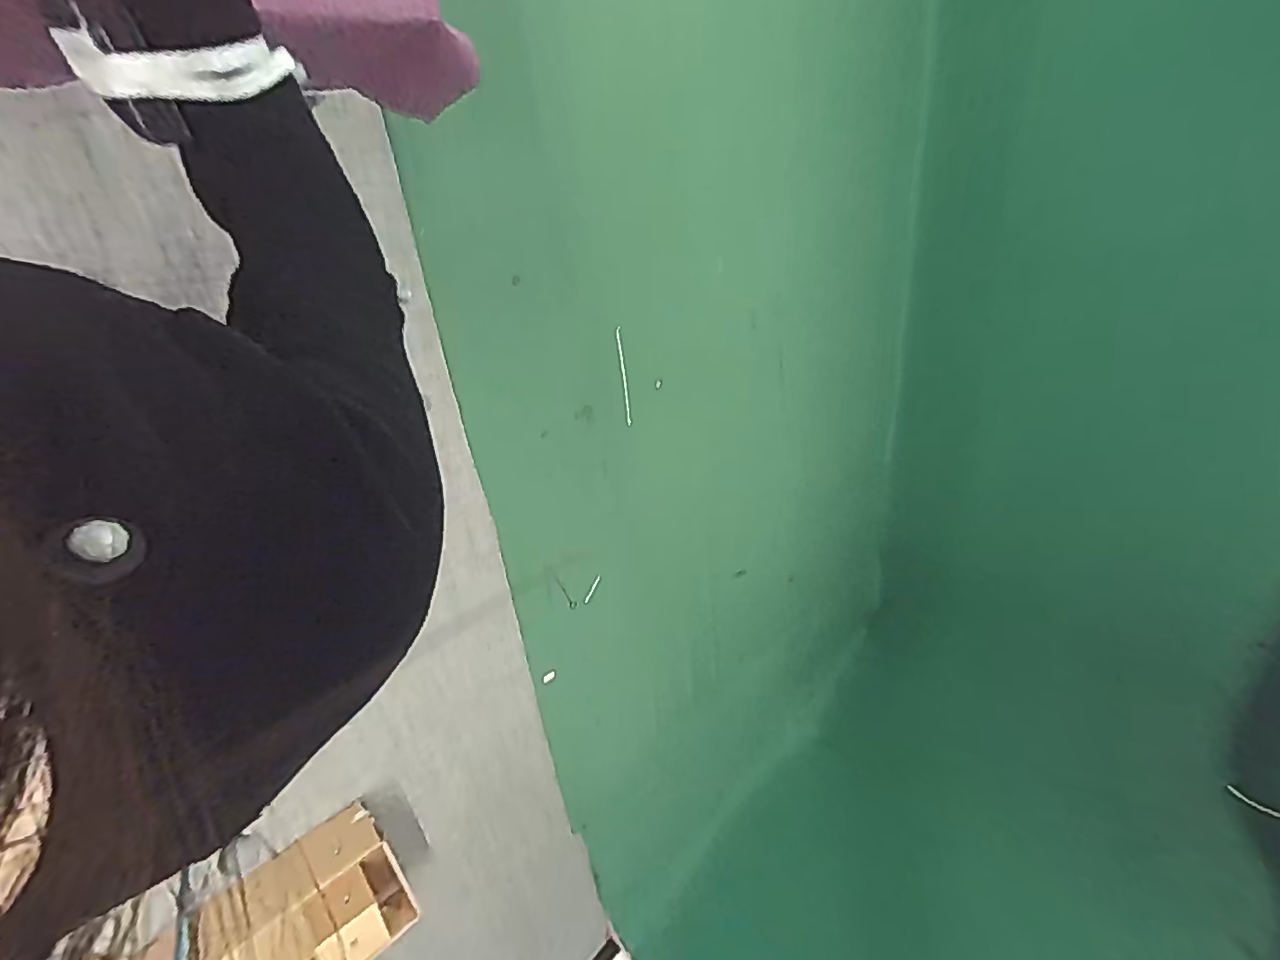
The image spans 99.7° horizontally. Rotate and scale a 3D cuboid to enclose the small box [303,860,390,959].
[{"bbox_3d":[-0.876,1.283,1.608,0.168,0.176,0.179,-23,119,-37],"label":"small box"}]
